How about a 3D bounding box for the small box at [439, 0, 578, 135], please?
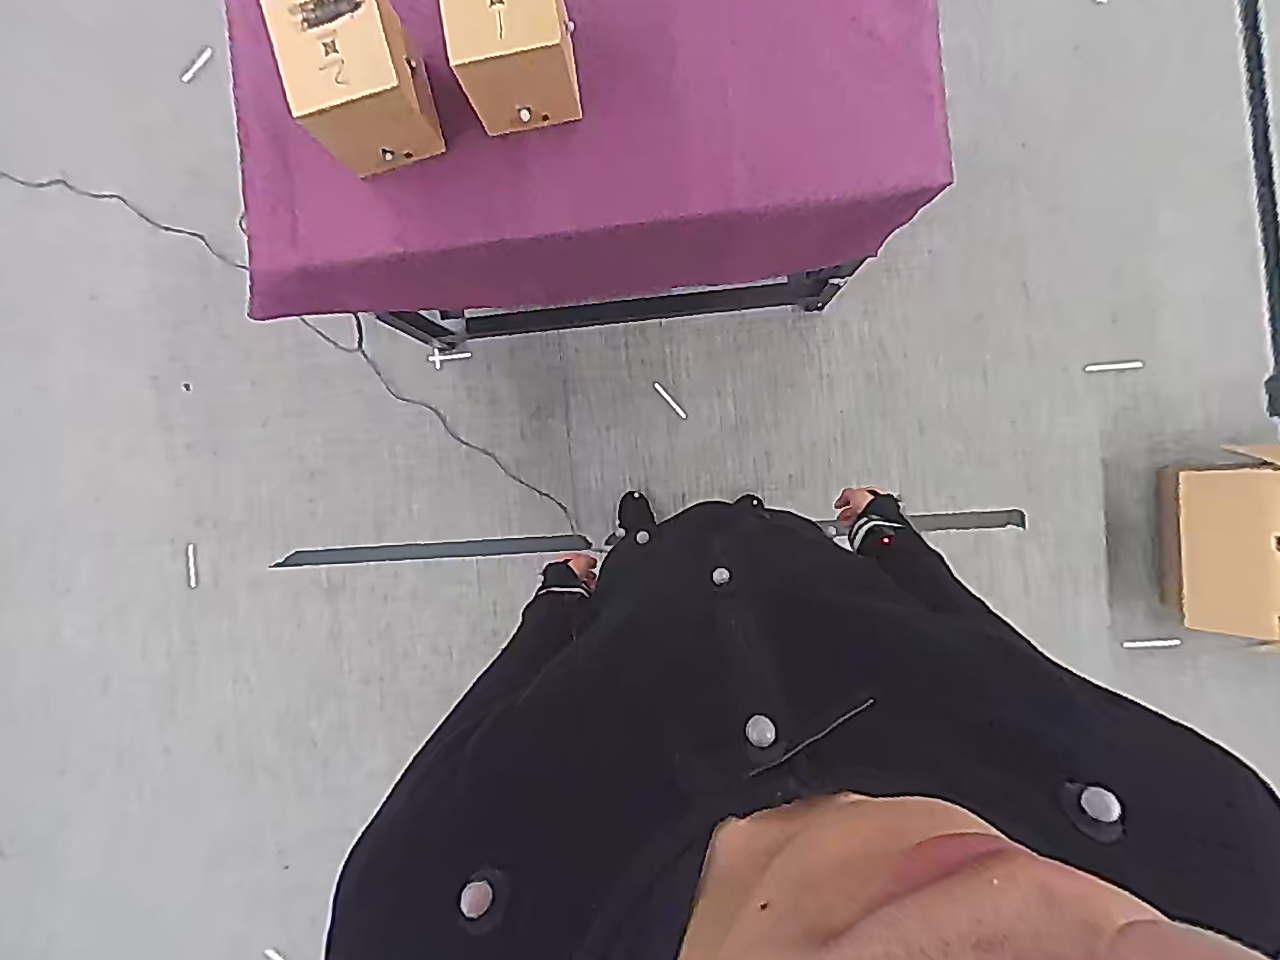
[{"bbox_3d":[-0.199,-0.684,0.840,0.168,0.176,0.179,-9,91,4],"label":"small box"}]
